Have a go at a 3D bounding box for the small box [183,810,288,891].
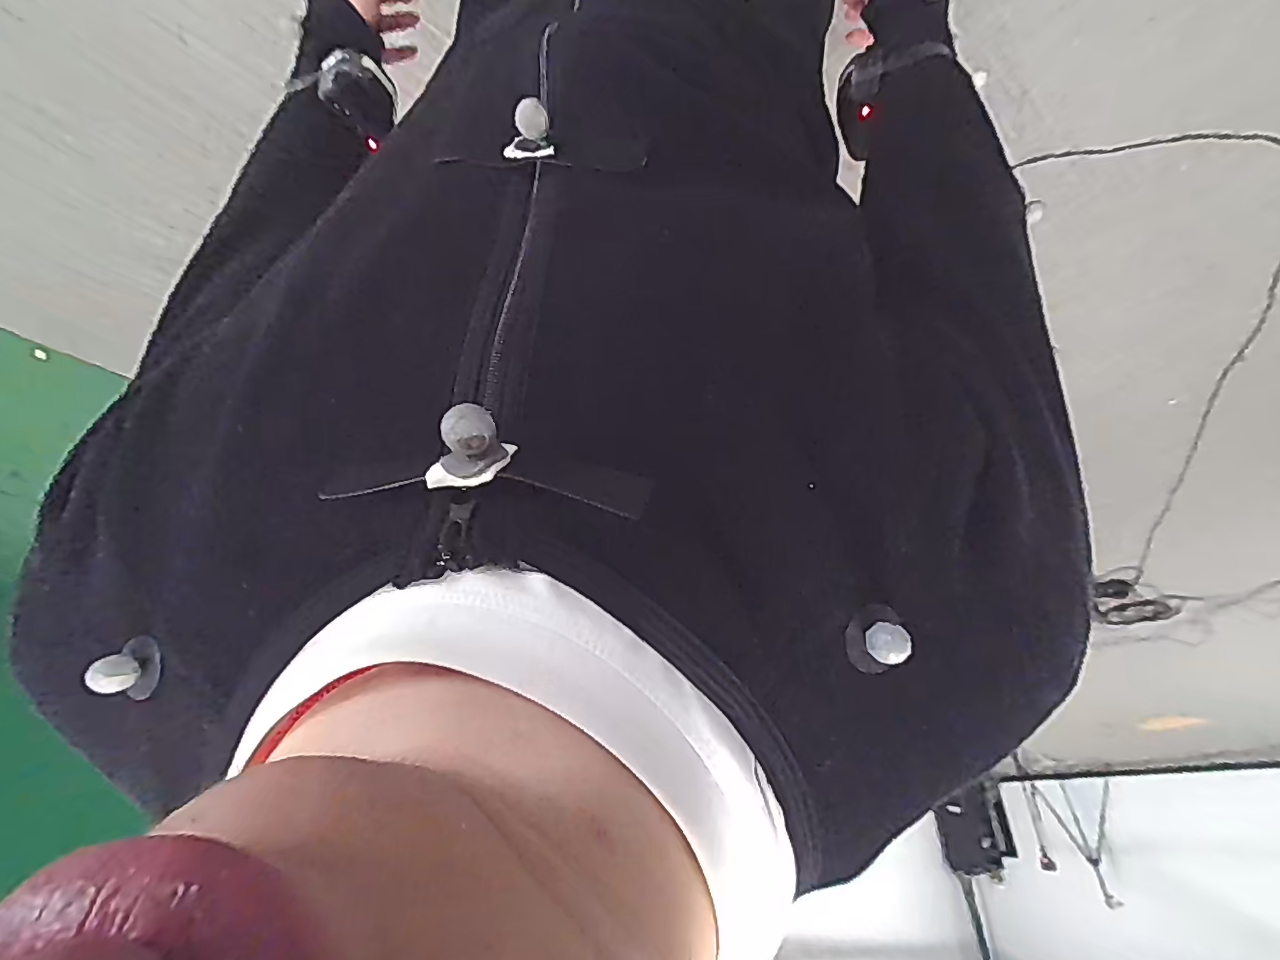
[{"bbox_3d":[-1.108,1.021,1.490,0.168,0.176,0.179,30,135,-31],"label":"small box"}]
